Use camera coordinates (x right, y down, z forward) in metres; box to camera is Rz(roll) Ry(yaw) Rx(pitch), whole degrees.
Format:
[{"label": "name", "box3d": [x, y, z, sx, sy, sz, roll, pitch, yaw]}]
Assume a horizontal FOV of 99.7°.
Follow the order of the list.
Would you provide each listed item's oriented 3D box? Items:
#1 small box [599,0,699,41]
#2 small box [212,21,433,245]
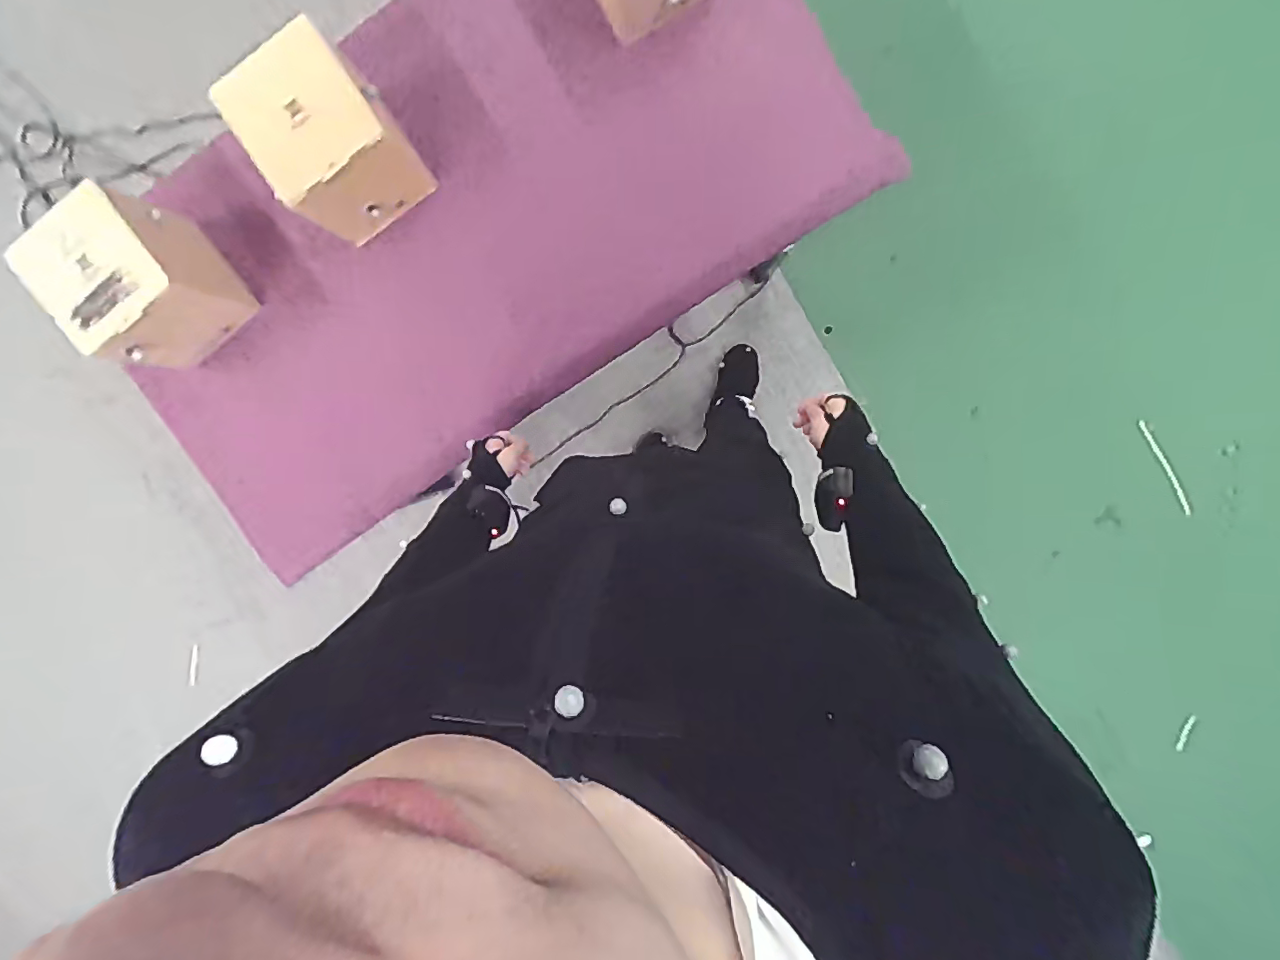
[{"label": "small box", "box3d": [-0.002, -0.755, 0.719, 0.168, 0.176, 0.179, -28, 95, 7]}, {"label": "small box", "box3d": [-0.438, -0.476, 0.776, 0.168, 0.176, 0.179, -34, 95, 6]}]
